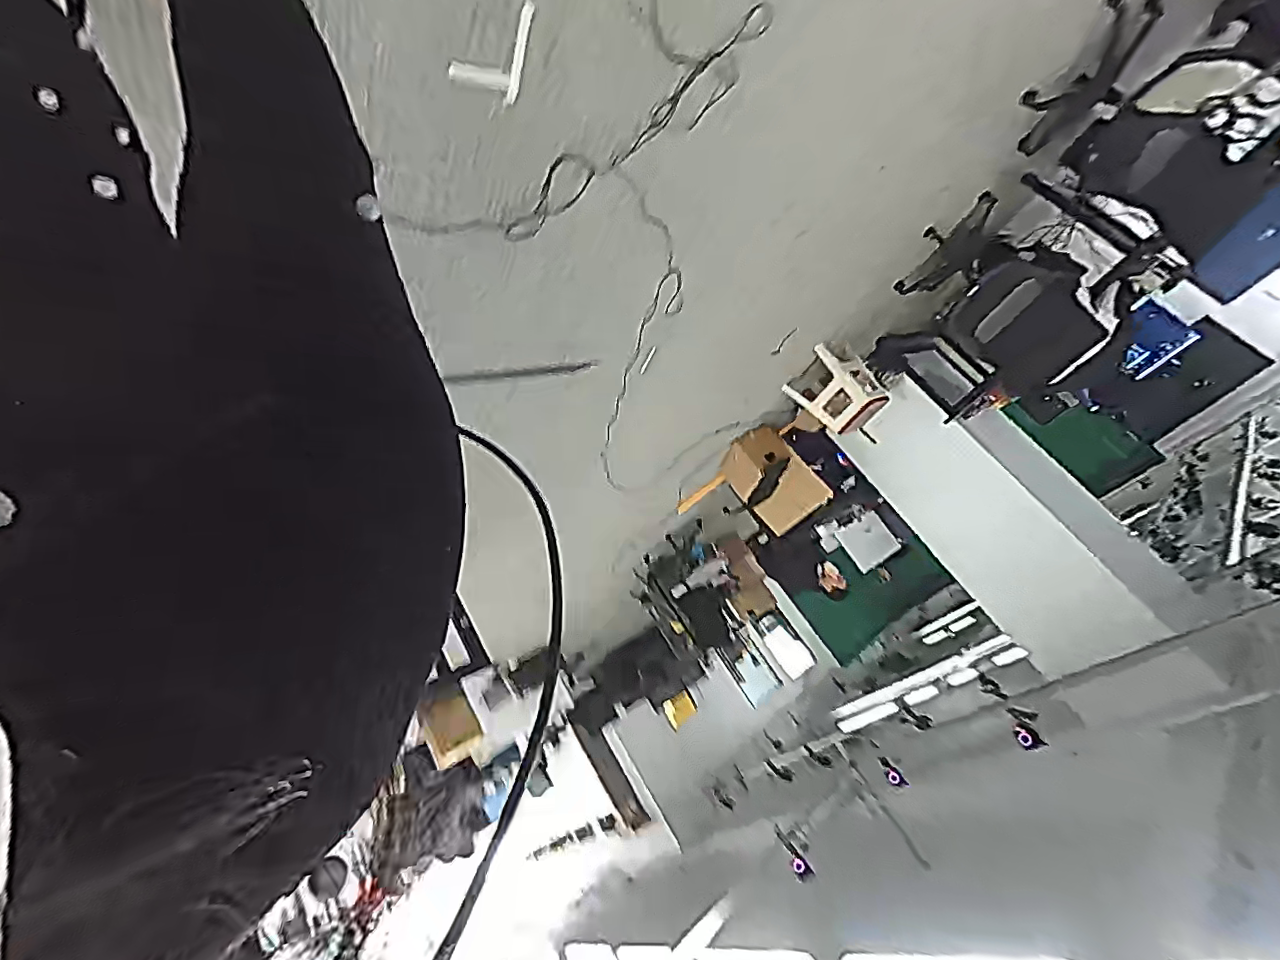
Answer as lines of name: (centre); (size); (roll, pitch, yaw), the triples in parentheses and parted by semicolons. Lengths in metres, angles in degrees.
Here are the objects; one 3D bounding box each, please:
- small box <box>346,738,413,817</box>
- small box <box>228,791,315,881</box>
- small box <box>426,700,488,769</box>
small box: (-0.918, 1.039, 1.898); (0.168, 0.176, 0.179); (-19, 152, -38)
small box: (-1.152, 1.112, 1.695); (0.179, 0.176, 0.168); (-21, 154, -35)
small box: (-0.709, 0.975, 2.084); (0.168, 0.176, 0.179); (-18, 153, -37)
